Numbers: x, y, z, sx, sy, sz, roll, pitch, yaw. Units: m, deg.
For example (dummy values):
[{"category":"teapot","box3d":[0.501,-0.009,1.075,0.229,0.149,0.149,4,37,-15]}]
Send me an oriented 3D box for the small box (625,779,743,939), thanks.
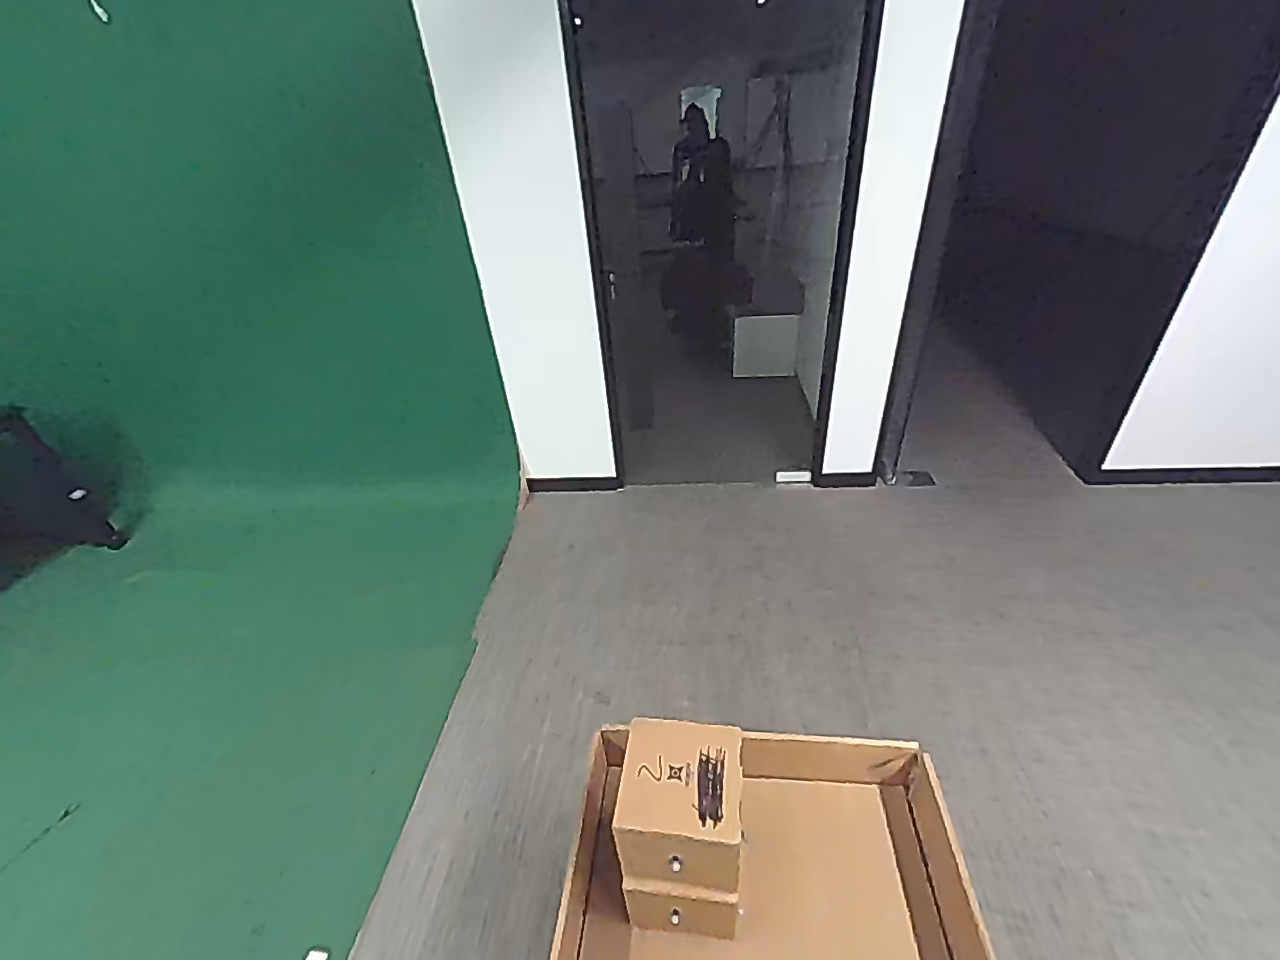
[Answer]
[{"category":"small box","box3d":[0.079,0.635,0.906,0.179,0.176,0.168,1,34,9]}]
